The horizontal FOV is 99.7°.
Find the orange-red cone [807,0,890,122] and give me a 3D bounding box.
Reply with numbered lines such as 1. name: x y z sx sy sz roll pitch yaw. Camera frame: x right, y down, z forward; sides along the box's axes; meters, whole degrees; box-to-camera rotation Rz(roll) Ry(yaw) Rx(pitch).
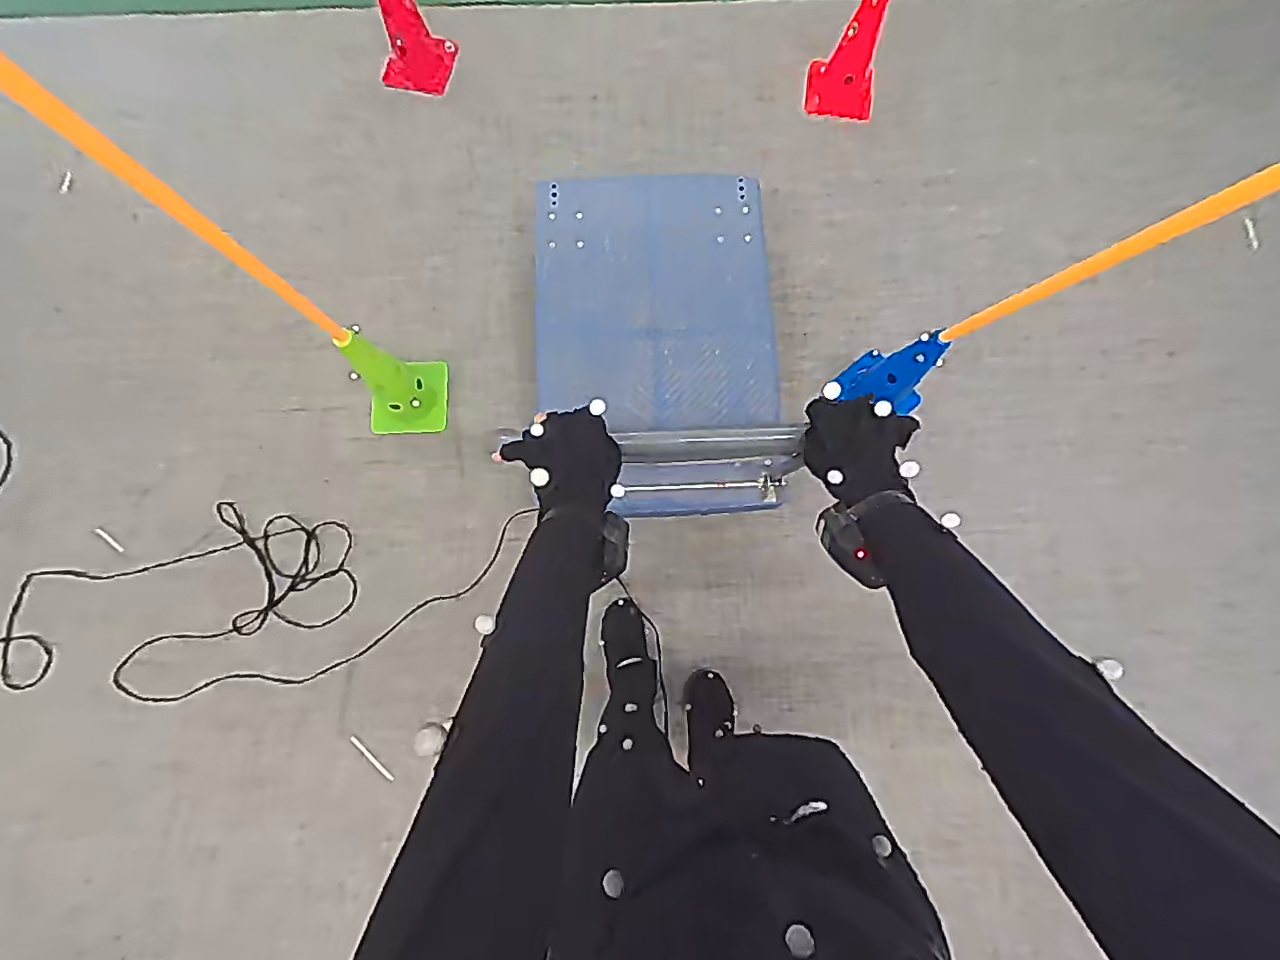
1. orange-red cone: 0.617 -1.225 1.494 0.198 0.360 0.199 9 79 2
